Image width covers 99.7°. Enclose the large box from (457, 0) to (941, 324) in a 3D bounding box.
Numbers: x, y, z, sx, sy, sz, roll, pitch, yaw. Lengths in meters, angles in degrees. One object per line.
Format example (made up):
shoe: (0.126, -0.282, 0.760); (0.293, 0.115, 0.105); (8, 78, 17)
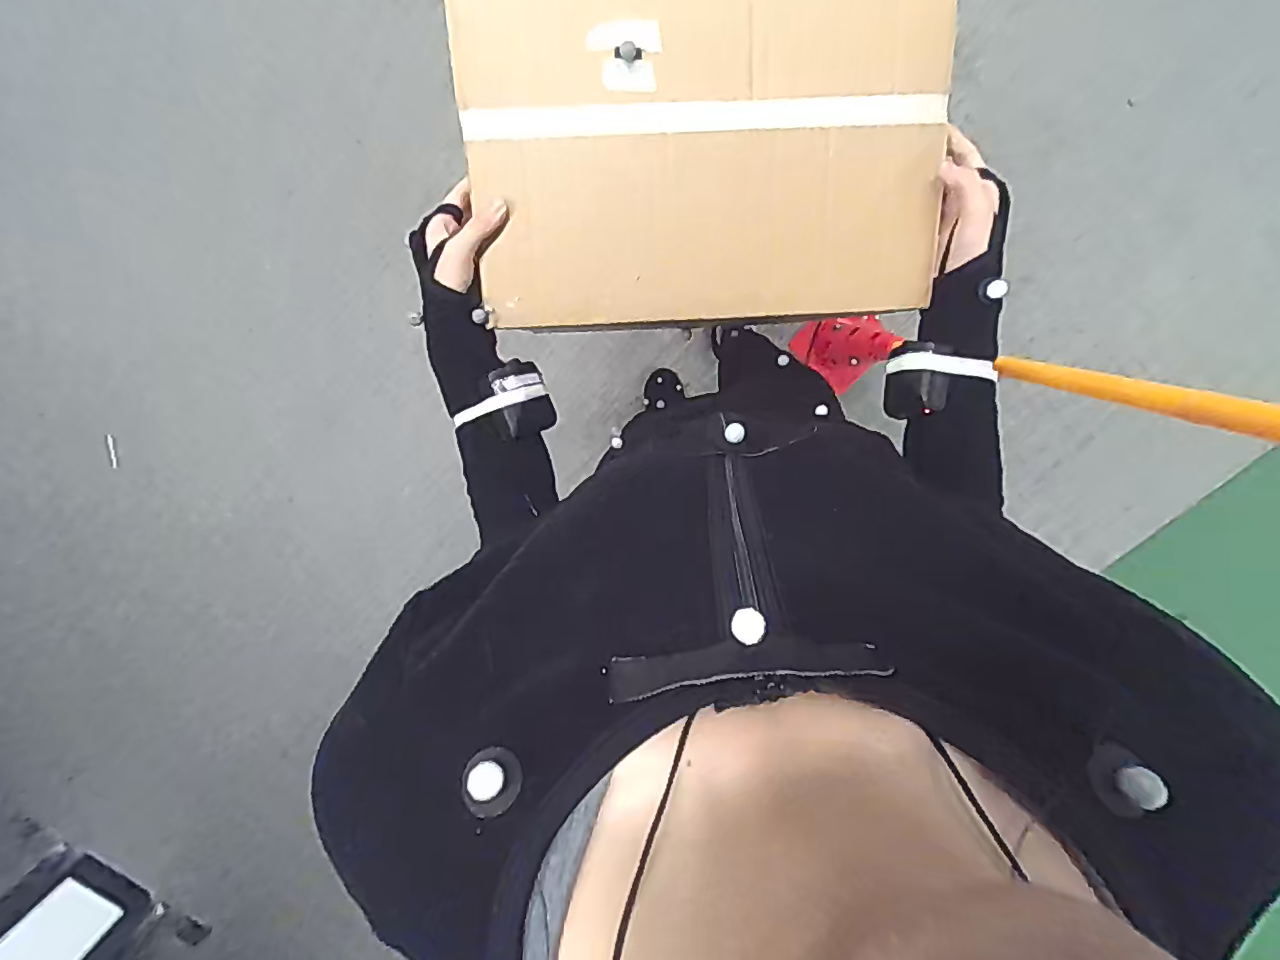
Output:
large box: (0.050, -0.345, 0.606); (0.408, 0.320, 0.320); (-3, 104, -2)
